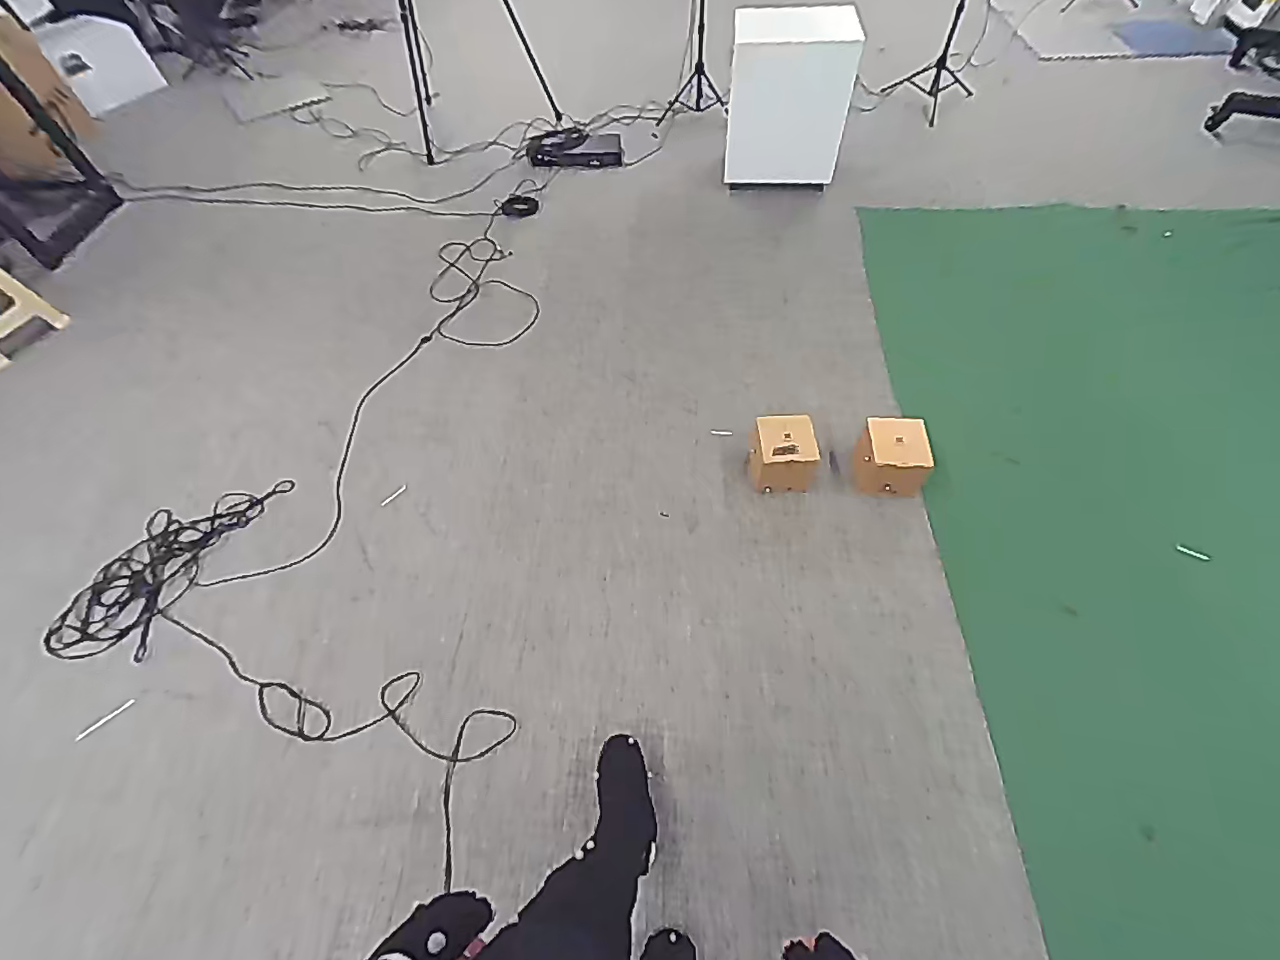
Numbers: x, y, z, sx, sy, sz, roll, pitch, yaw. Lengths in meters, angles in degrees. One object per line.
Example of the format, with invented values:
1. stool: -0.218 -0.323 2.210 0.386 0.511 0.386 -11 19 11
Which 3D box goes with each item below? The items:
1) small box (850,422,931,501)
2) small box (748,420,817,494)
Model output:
1. small box: 0.759 -0.055 1.660 0.168 0.176 0.179 3 57 5
2. small box: 0.436 -0.067 1.679 0.168 0.176 0.179 -1 55 1
